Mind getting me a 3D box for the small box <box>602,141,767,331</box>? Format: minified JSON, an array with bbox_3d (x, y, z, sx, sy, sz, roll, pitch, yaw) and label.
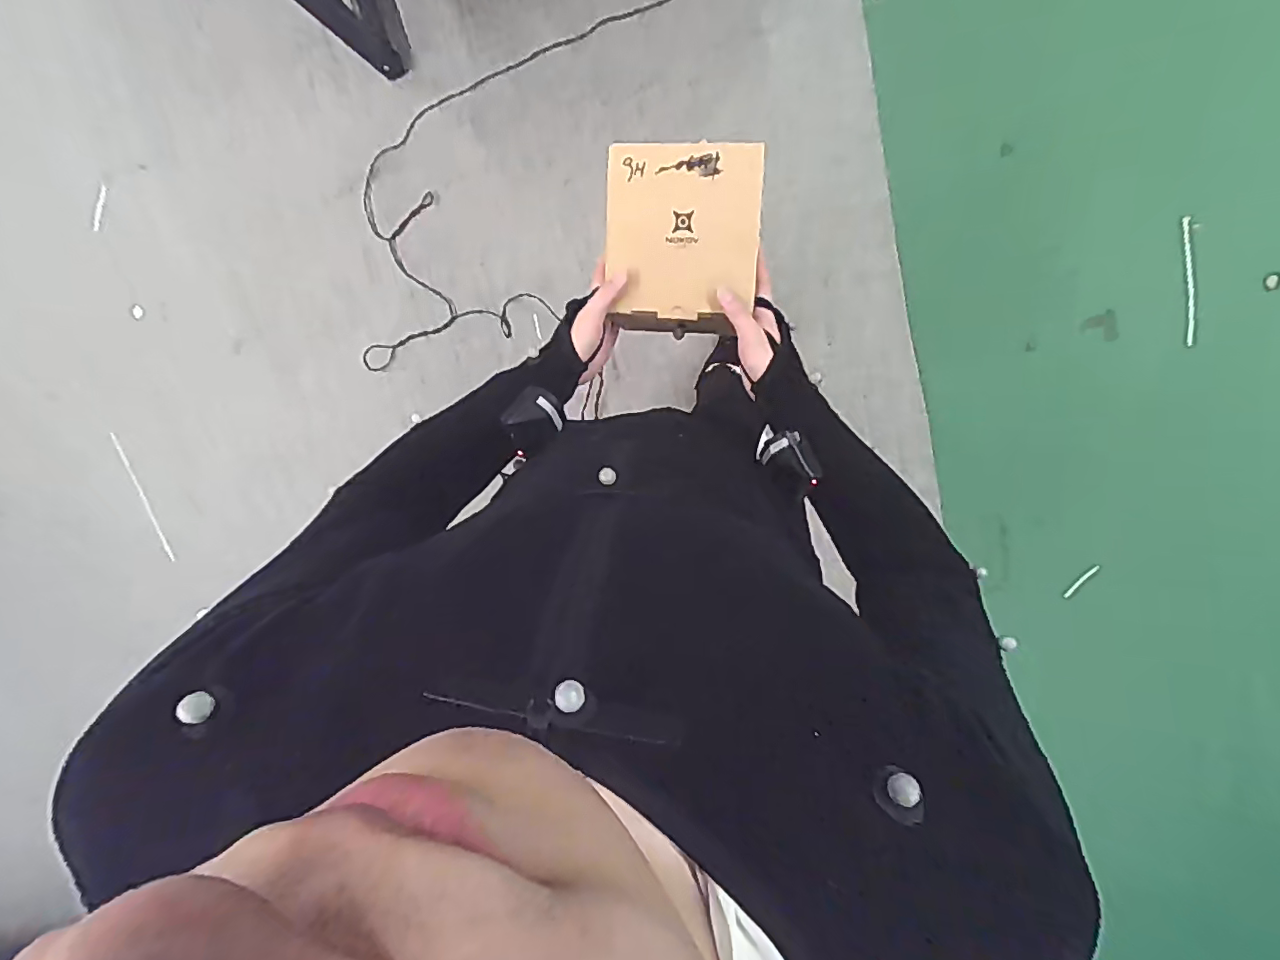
[{"bbox_3d":[0.052,-0.277,0.649,0.168,0.176,0.179,4,100,5],"label":"small box"}]
